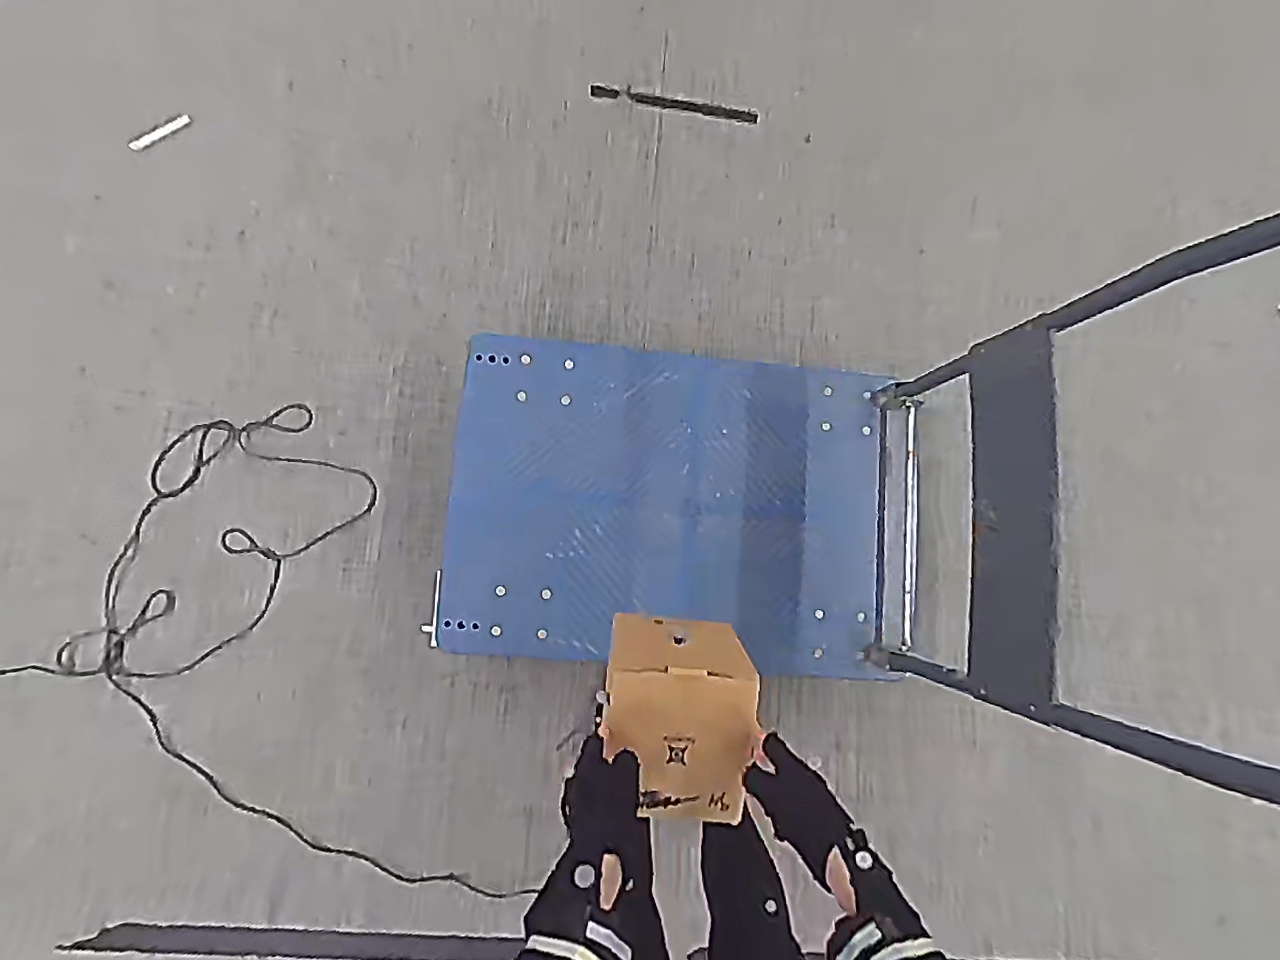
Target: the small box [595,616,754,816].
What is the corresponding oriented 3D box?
[{"bbox_3d":[0.034,0.285,0.689,0.168,0.176,0.179,6,95,-4],"label":"small box"}]
